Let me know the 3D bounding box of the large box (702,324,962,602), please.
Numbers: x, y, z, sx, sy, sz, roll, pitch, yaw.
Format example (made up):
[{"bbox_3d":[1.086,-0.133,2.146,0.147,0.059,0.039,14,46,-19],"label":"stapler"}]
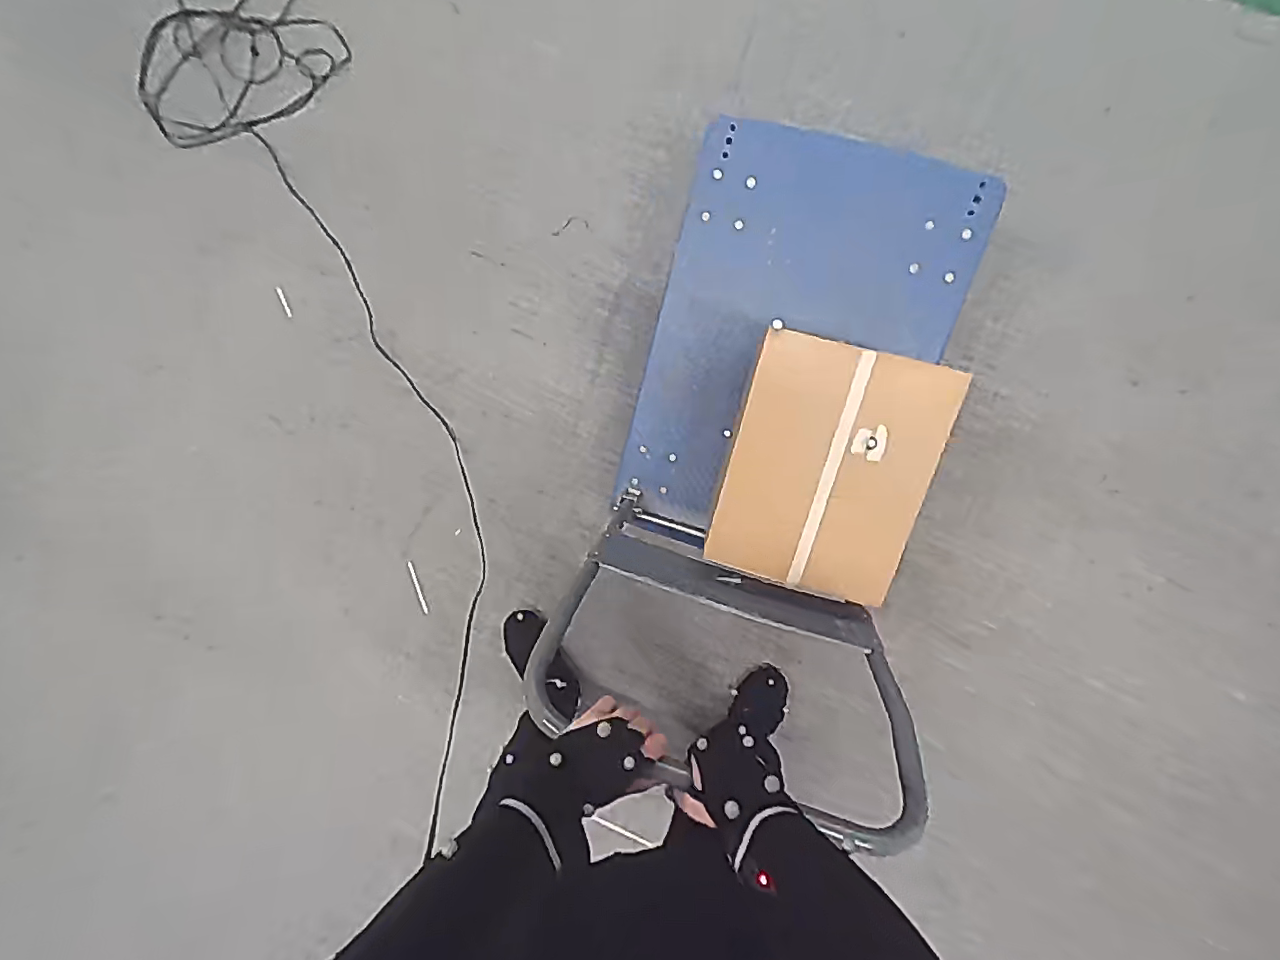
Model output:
[{"bbox_3d":[0.323,-0.048,1.022,0.320,0.320,0.408,16,104,5],"label":"large box"}]
